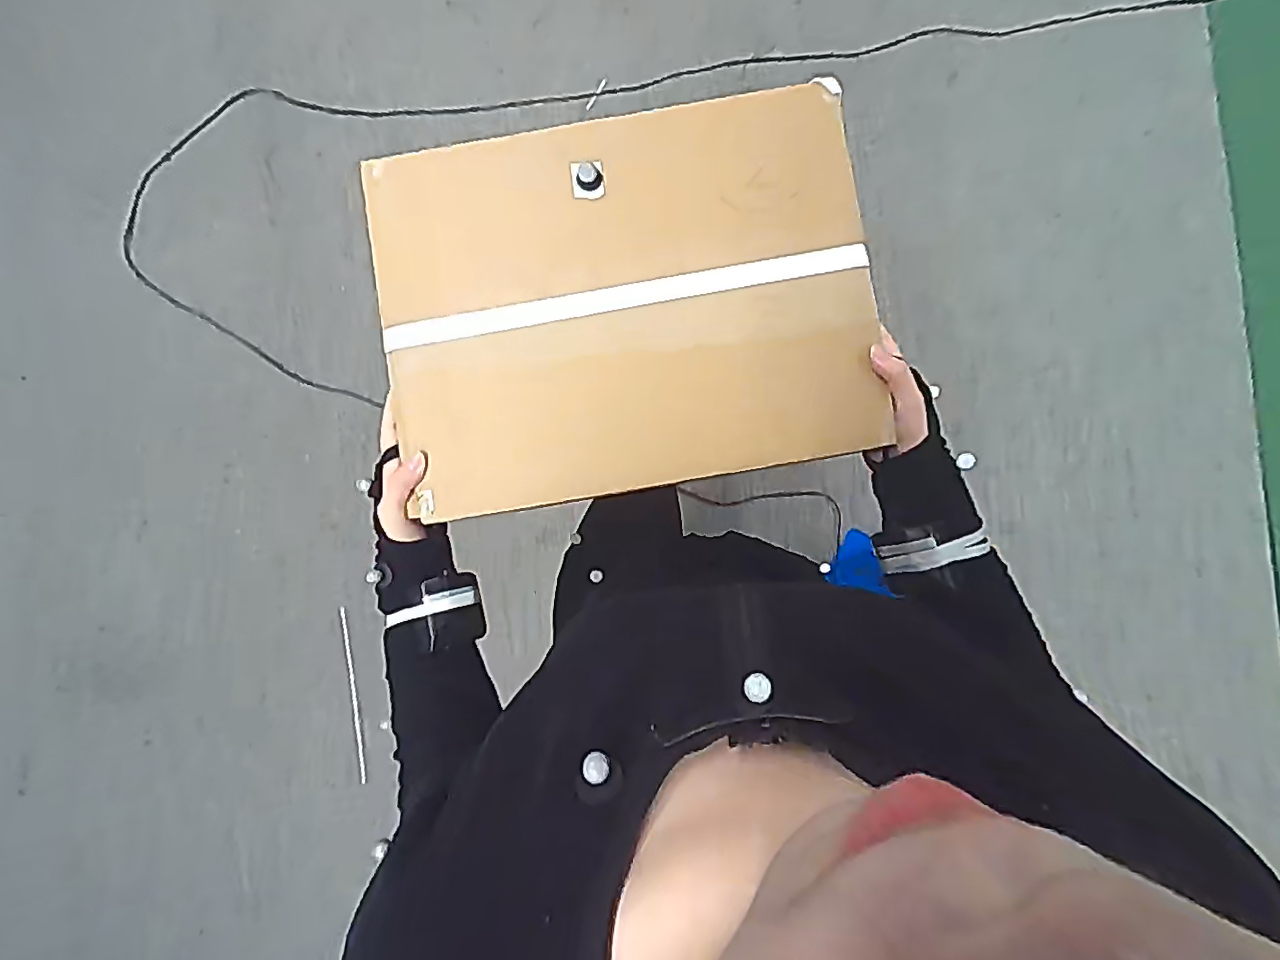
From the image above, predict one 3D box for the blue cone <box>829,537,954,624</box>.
[{"bbox_3d":[0.619,0.261,1.274,0.193,0.380,0.192,26,91,0],"label":"blue cone"}]
